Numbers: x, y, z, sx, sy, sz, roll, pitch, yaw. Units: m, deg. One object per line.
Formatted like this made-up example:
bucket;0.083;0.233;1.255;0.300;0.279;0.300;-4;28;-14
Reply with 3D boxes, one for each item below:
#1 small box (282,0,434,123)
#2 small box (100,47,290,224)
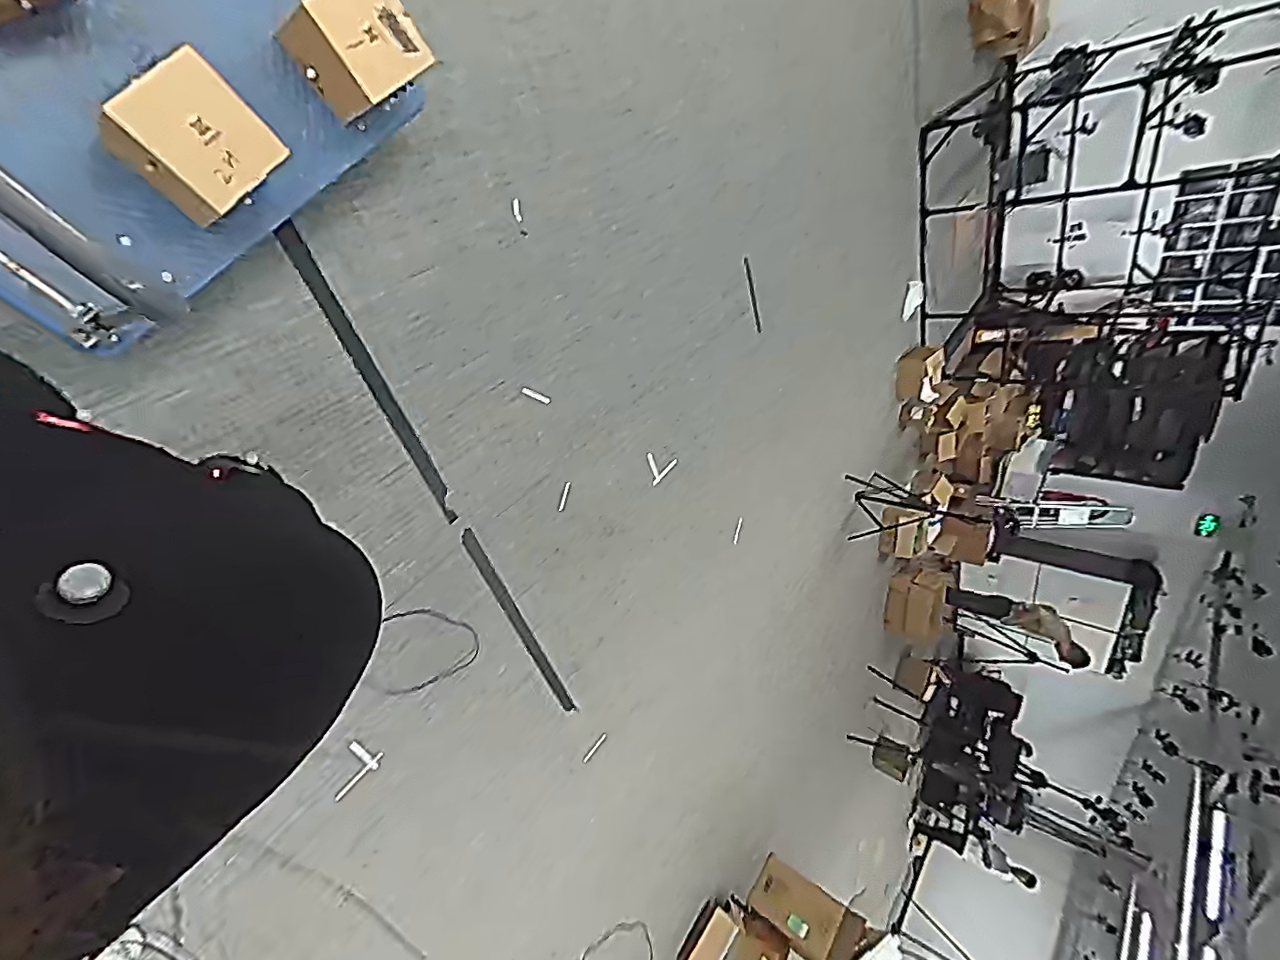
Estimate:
small box;-0.547;-0.833;1.047;0.179;0.176;0.168;-54;135;-22
small box;-0.743;-0.560;0.903;0.168;0.176;0.179;-59;136;-19
